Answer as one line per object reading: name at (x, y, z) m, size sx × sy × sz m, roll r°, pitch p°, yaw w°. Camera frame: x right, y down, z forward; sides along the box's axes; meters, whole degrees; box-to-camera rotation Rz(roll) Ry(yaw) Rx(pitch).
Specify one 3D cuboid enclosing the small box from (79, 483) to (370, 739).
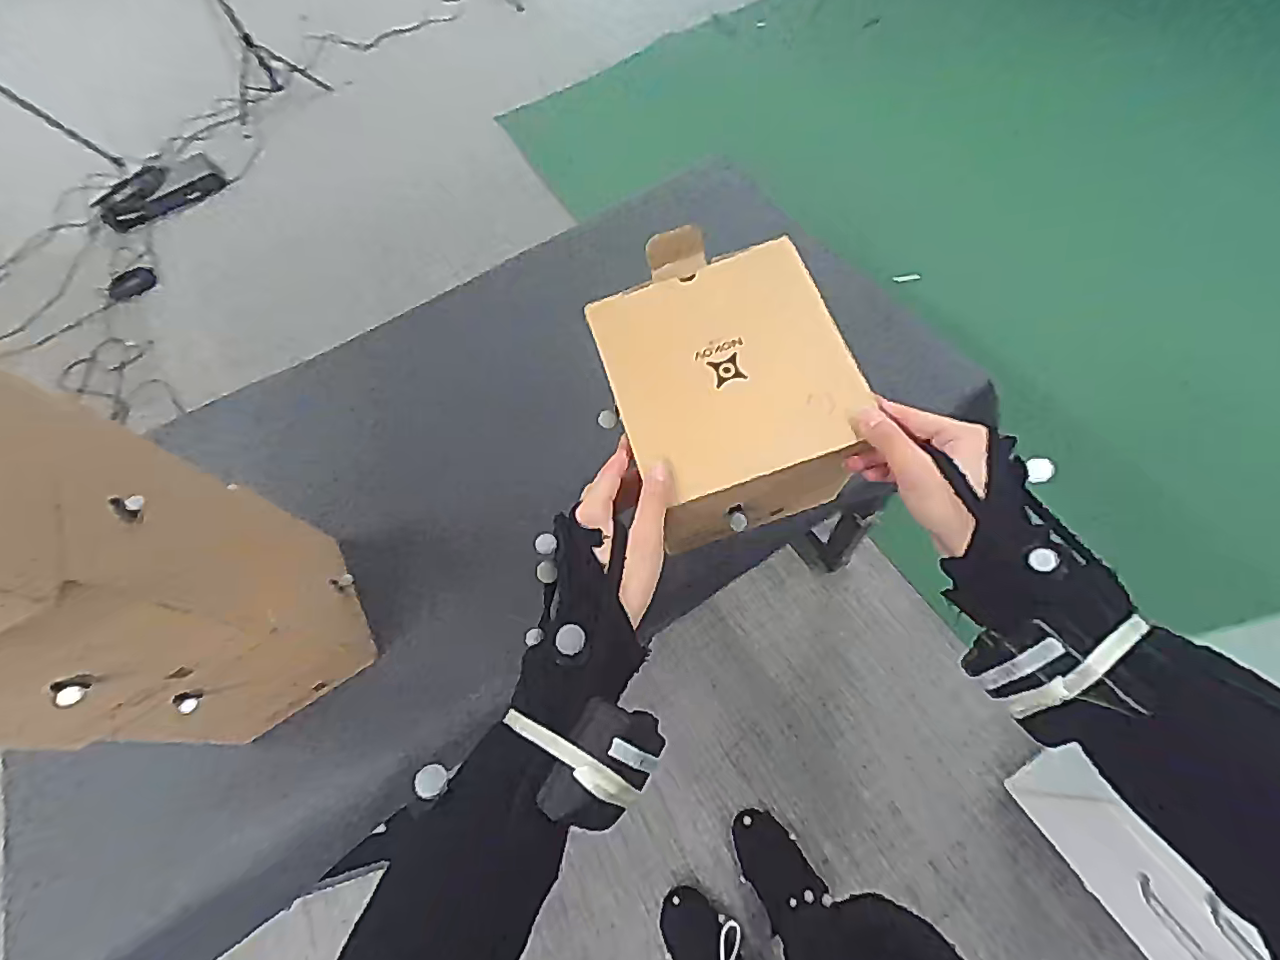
small box at (-0.417, 0.142, 0.556) m, size 0.168 × 0.176 × 0.179 m, roll -32°, pitch 63°, yaw -10°

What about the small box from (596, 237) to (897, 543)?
small box at (0.077, -0.055, 0.452) m, size 0.168 × 0.176 × 0.179 m, roll -18°, pitch 71°, yaw 1°

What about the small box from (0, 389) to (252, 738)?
small box at (-0.437, 0.073, 0.407) m, size 0.168 × 0.176 × 0.179 m, roll -31°, pitch 63°, yaw -10°
